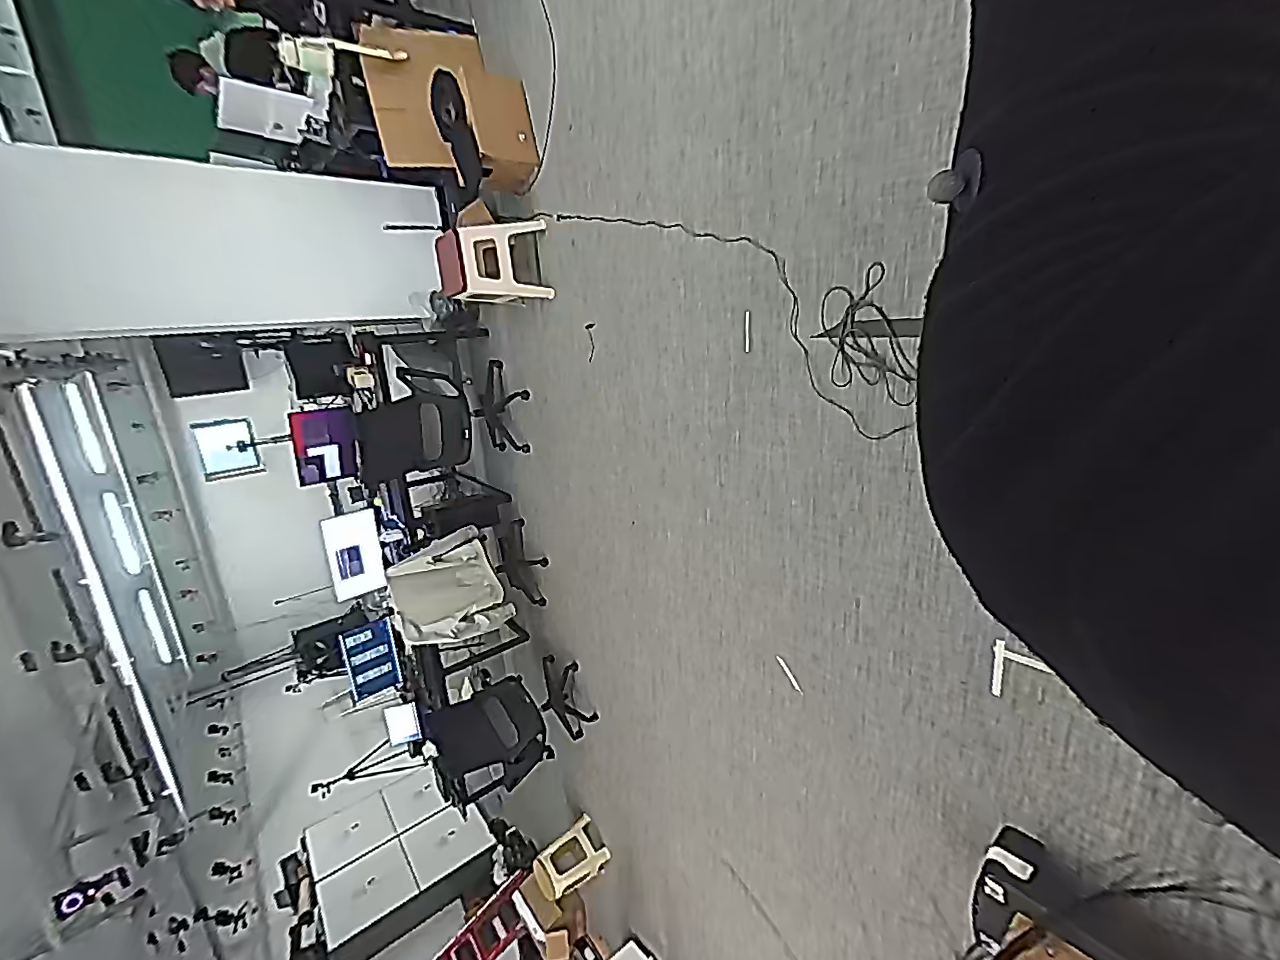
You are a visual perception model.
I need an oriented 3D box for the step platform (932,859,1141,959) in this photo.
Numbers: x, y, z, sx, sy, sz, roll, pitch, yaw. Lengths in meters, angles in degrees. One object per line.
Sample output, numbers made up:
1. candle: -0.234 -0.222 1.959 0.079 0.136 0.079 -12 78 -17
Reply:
1. step platform: 1.040 1.203 1.192 0.684 0.204 0.286 15 116 51
